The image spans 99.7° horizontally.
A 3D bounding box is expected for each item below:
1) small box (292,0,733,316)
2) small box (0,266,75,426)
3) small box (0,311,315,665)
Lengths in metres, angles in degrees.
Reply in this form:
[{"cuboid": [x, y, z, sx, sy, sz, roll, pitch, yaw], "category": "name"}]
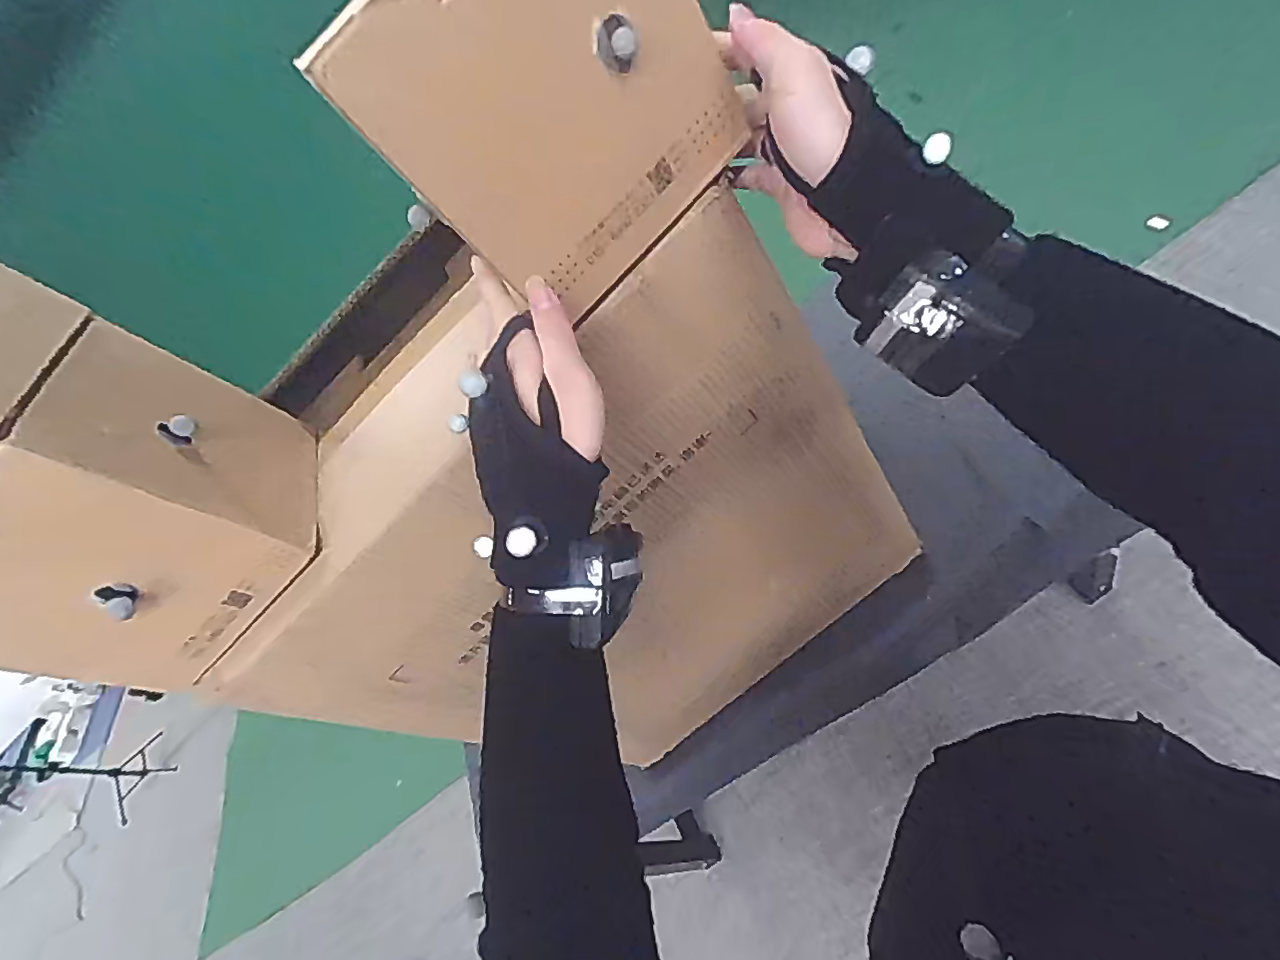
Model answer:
[{"cuboid": [-0.074, -0.229, 0.326, 0.168, 0.176, 0.179, -44, 45, 4], "category": "small box"}, {"cuboid": [-0.461, -0.055, 0.284, 0.168, 0.176, 0.179, -43, 47, 10], "category": "small box"}, {"cuboid": [-0.370, 0.016, 0.401, 0.168, 0.176, 0.179, -44, 46, 8], "category": "small box"}]
